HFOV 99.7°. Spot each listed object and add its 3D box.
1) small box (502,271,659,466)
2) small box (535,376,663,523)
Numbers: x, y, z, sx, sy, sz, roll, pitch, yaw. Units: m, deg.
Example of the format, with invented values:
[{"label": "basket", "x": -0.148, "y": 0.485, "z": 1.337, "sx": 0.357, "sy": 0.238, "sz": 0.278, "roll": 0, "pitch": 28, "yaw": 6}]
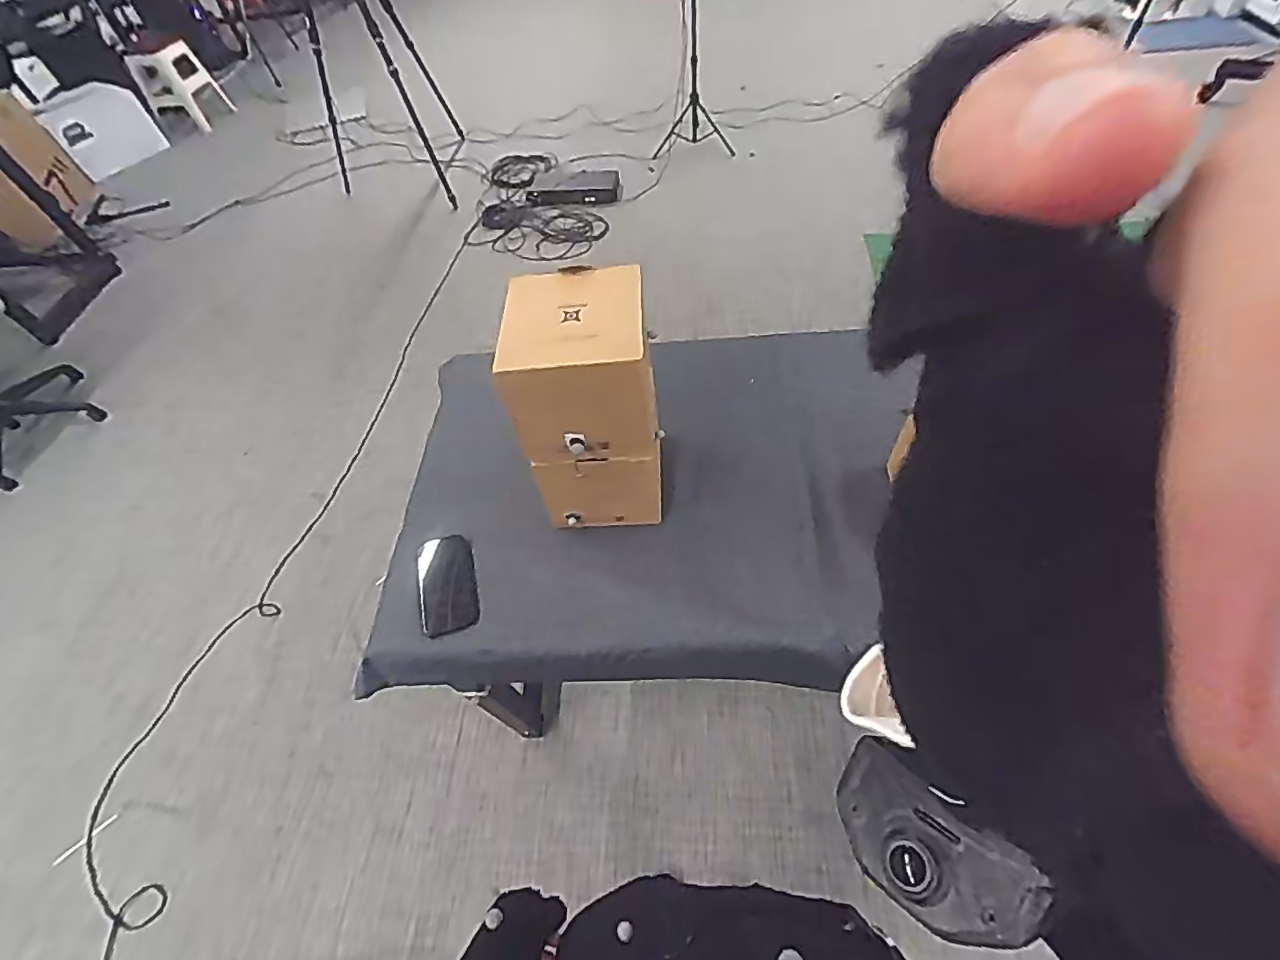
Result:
[{"label": "small box", "x": -0.065, "y": -0.140, "z": 0.697, "sx": 0.168, "sy": 0.176, "sz": 0.179, "roll": -5, "pitch": 55, "yaw": 3}, {"label": "small box", "x": -0.052, "y": -0.043, "z": 0.826, "sx": 0.168, "sy": 0.176, "sz": 0.179, "roll": -2, "pitch": 53, "yaw": 4}]
